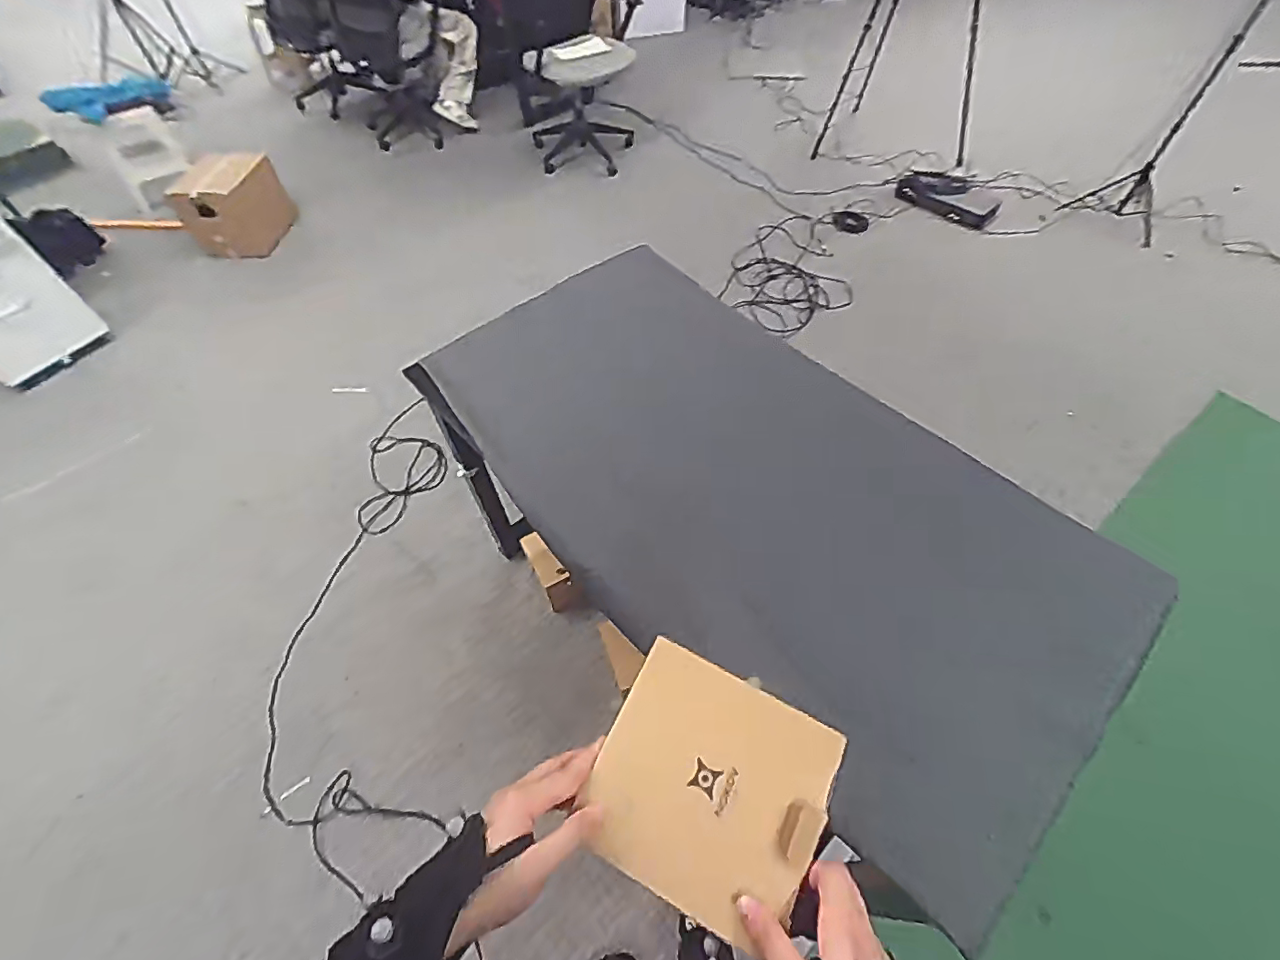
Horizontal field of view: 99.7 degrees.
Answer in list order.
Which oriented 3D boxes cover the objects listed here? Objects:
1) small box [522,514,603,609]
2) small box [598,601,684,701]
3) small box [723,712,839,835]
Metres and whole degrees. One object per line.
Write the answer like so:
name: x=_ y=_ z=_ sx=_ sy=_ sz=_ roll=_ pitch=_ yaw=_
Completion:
small box: x=-0.218 y=0.234 z=1.544 sx=0.168 sy=0.176 sz=0.179 roll=-26 pitch=56 yaw=-16
small box: x=0.004 y=0.445 z=1.381 sx=0.168 sy=0.176 sz=0.179 roll=-19 pitch=54 yaw=-12
small box: x=0.303 y=0.661 z=1.210 sx=0.168 sy=0.176 sz=0.179 roll=-32 pitch=60 yaw=-19
